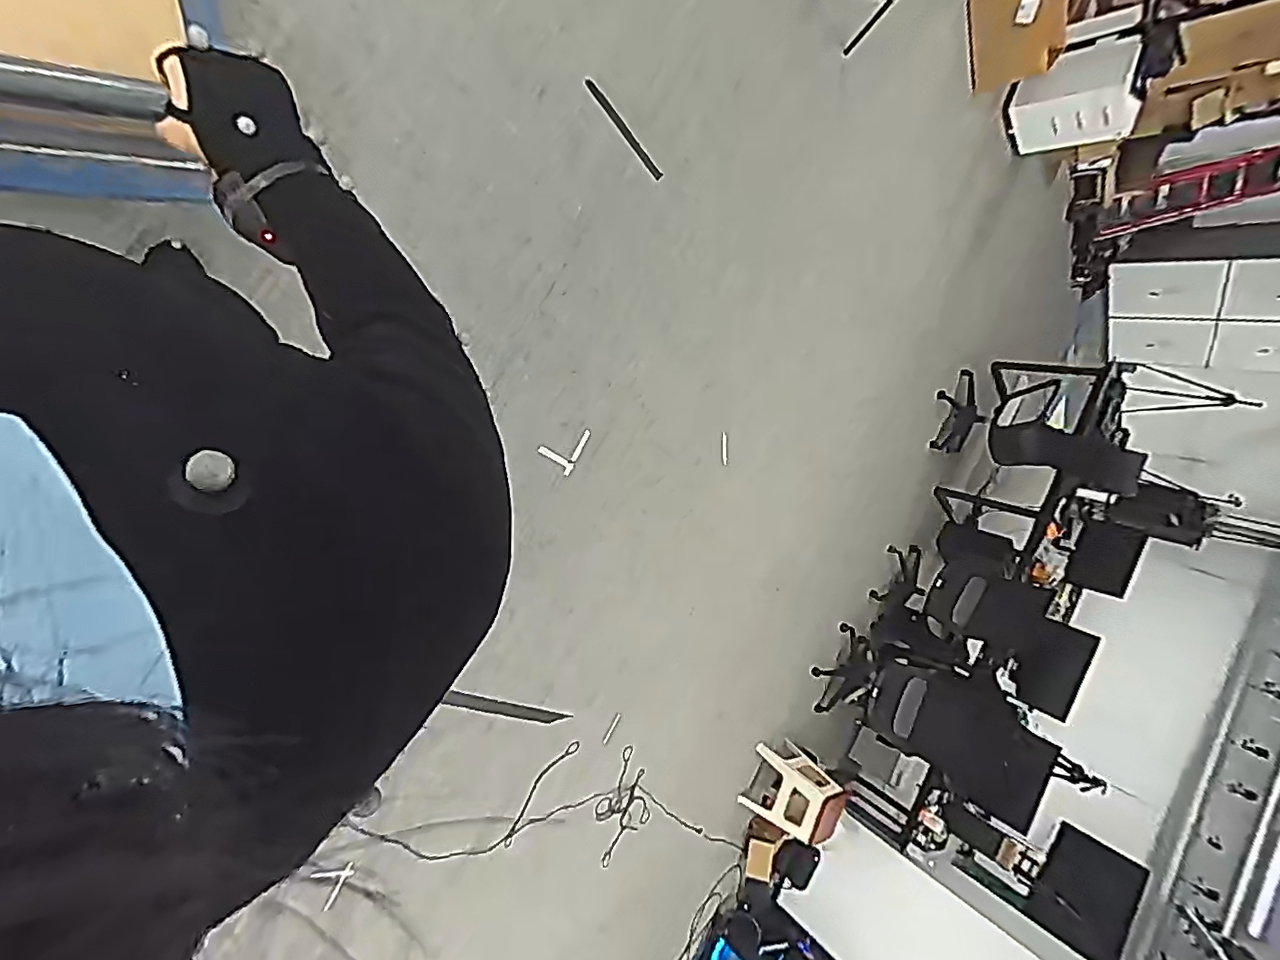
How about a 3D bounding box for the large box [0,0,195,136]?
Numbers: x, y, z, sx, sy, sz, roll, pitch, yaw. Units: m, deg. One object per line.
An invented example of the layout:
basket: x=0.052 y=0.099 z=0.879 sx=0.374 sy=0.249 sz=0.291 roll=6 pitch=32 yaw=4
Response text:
large box: x=-0.851 y=-0.656 z=0.659 sx=0.408 sy=0.320 sz=0.320 roll=-18 pitch=116 yaw=-40
